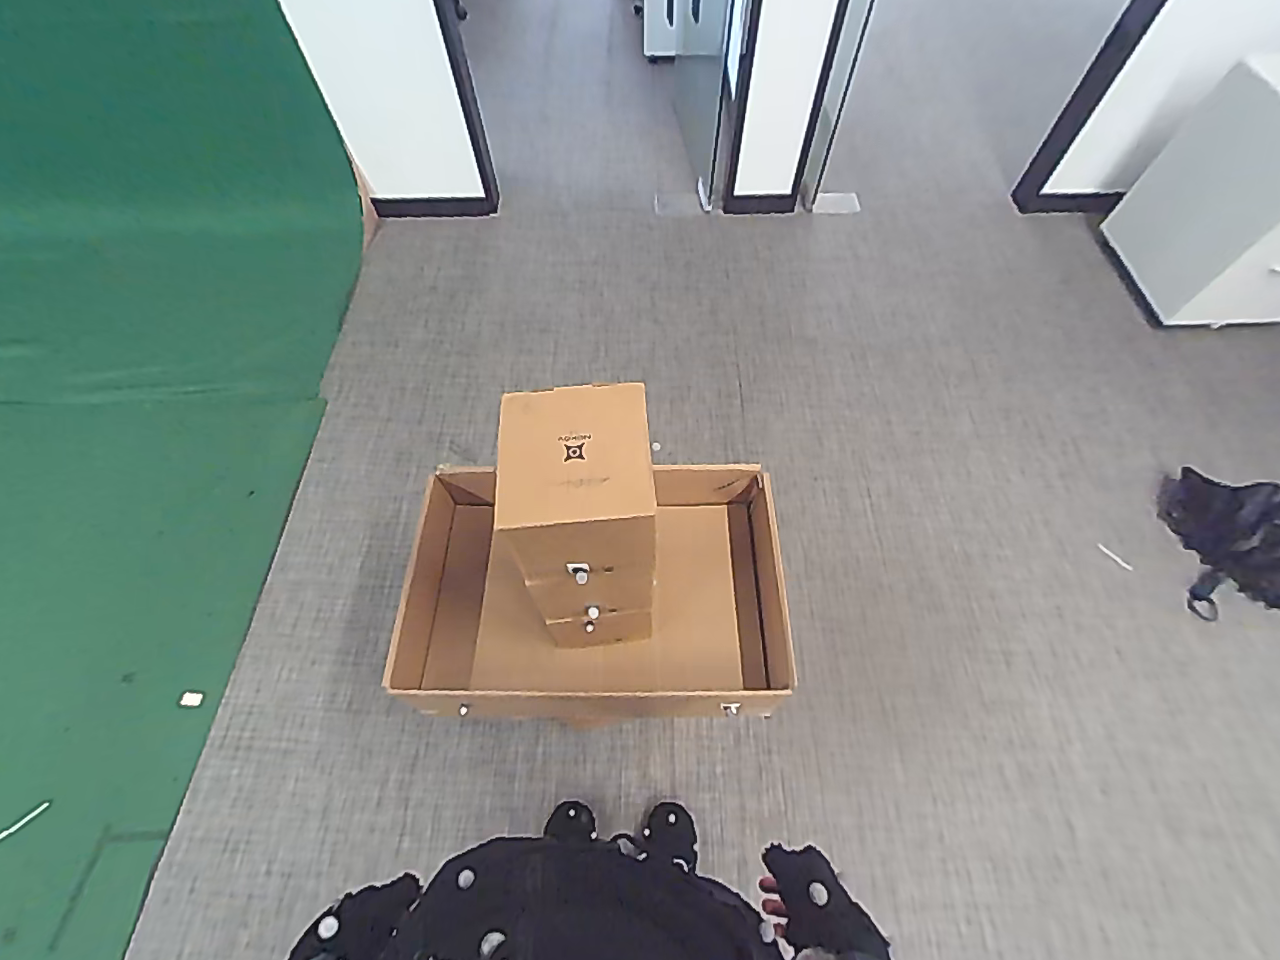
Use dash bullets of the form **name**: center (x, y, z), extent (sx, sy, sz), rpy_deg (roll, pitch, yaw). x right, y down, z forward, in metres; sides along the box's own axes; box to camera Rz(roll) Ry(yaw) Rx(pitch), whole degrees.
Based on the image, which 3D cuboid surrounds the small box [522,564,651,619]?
- **small box**: center (-0.074, 0.090, 0.795), extent (0.168, 0.176, 0.179), rpy_deg (-5, 60, -2)

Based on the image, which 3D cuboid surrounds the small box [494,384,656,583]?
- **small box**: center (-0.070, 0.009, 0.655), extent (0.168, 0.176, 0.179), rpy_deg (-6, 61, -1)

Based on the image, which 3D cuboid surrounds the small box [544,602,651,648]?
- **small box**: center (-0.072, 0.175, 0.935), extent (0.168, 0.176, 0.179), rpy_deg (-7, 59, -2)
